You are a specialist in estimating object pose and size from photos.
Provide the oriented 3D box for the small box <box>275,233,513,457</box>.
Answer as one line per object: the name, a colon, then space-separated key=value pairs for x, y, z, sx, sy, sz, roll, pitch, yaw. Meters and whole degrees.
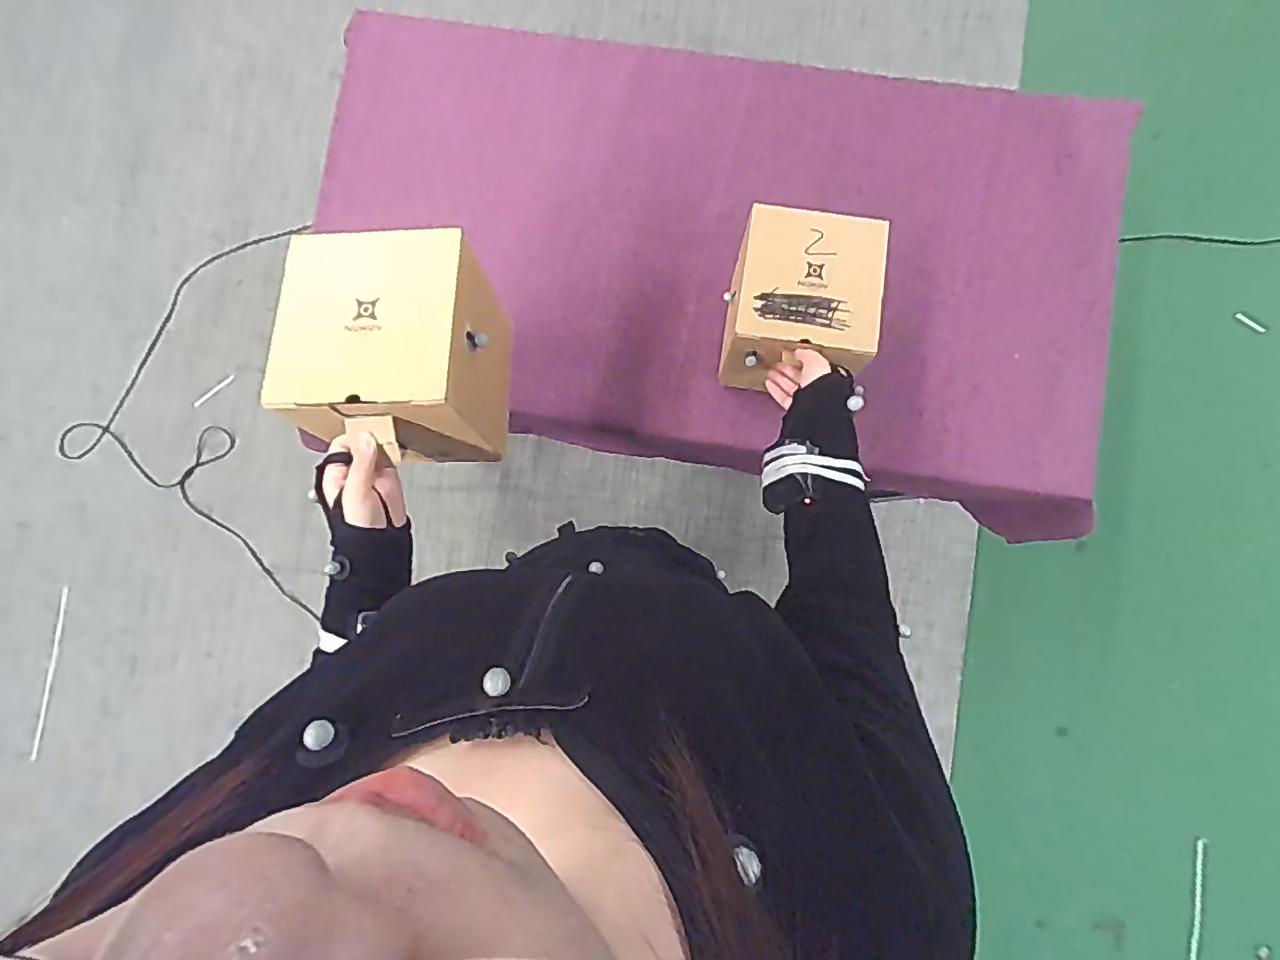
small box: x=-0.240 y=-0.132 z=0.576 sx=0.168 sy=0.176 sz=0.179 roll=-1 pitch=76 yaw=4
